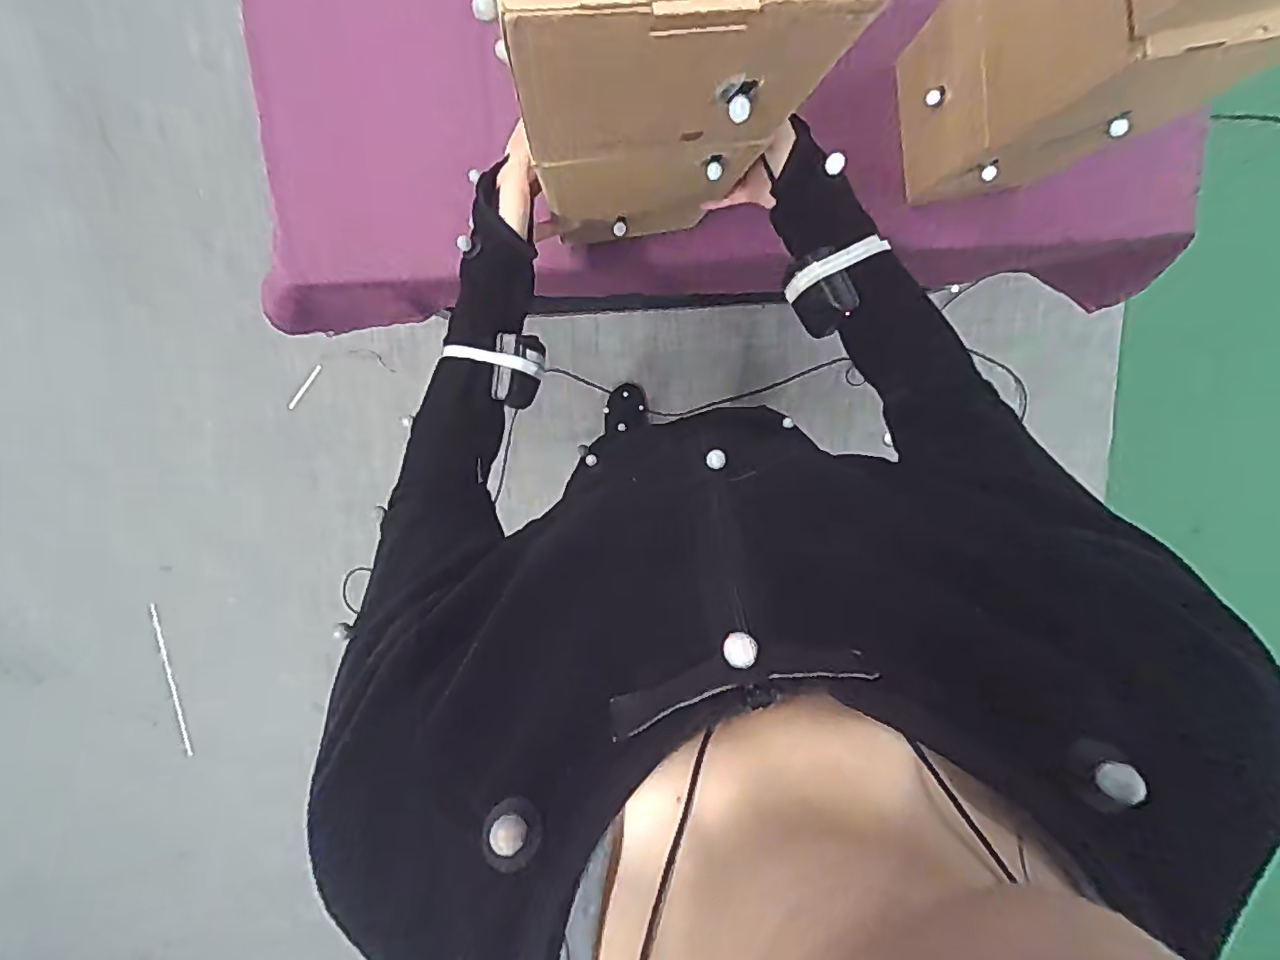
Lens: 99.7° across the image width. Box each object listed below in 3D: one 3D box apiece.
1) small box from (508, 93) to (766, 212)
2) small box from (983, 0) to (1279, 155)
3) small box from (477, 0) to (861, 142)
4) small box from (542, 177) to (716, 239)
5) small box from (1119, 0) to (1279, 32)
[{"bbox_3d":[-0.014,-0.329,0.432,0.179,0.176,0.168,-9,104,-4],"label":"small box"},{"bbox_3d":[0.416,-0.408,0.449,0.168,0.176,0.179,-9,100,1],"label":"small box"},{"bbox_3d":[0.002,-0.293,0.274,0.168,0.176,0.179,-7,103,-5],"label":"small box"},{"bbox_3d":[-0.025,-0.373,0.588,0.179,0.176,0.168,-9,104,-2],"label":"small box"},{"bbox_3d":[0.409,-0.391,0.285,0.179,0.176,0.168,-12,99,2],"label":"small box"}]
